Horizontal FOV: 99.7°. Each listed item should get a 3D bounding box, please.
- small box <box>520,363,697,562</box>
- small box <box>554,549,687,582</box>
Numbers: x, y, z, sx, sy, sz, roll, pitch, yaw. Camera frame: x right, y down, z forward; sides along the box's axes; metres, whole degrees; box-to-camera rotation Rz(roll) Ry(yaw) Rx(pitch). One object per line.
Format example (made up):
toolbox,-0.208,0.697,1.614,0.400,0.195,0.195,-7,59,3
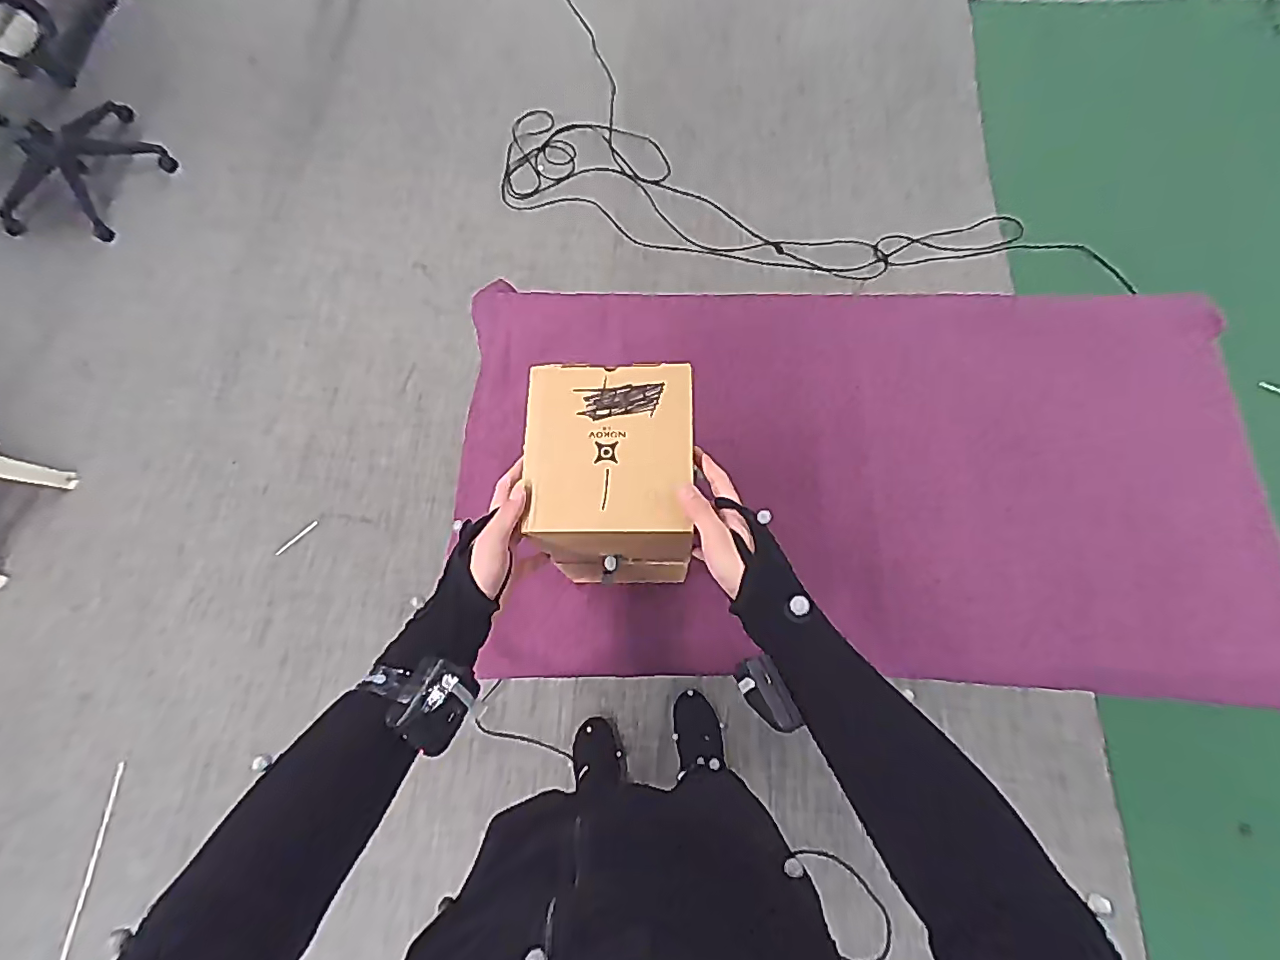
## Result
small box,-0.023,-0.011,0.596,0.168,0.176,0.179,0,73,4
small box,-0.017,0.045,0.753,0.168,0.176,0.179,0,71,3
